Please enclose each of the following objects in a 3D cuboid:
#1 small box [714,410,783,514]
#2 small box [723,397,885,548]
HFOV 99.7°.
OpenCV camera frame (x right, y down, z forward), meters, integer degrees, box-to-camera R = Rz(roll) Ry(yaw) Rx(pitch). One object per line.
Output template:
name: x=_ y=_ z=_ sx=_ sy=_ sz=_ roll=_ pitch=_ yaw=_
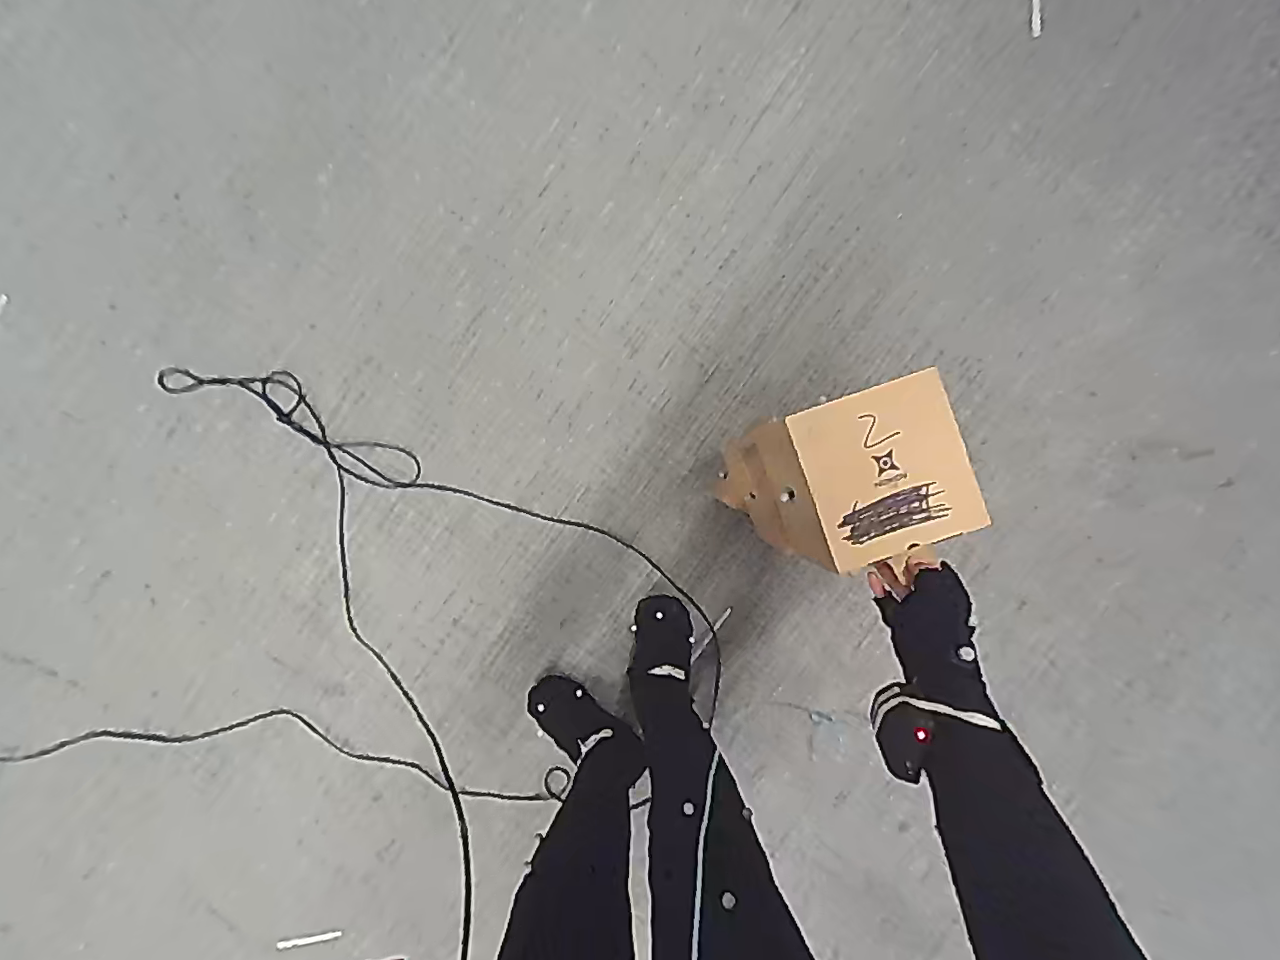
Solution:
small box: x=0.253 y=-0.011 z=1.011 sx=0.168 sy=0.176 sz=0.179 roll=30 pitch=92 yaw=-4
small box: x=0.248 y=-0.015 z=0.862 sx=0.168 sy=0.176 sz=0.179 roll=-25 pitch=95 yaw=1
